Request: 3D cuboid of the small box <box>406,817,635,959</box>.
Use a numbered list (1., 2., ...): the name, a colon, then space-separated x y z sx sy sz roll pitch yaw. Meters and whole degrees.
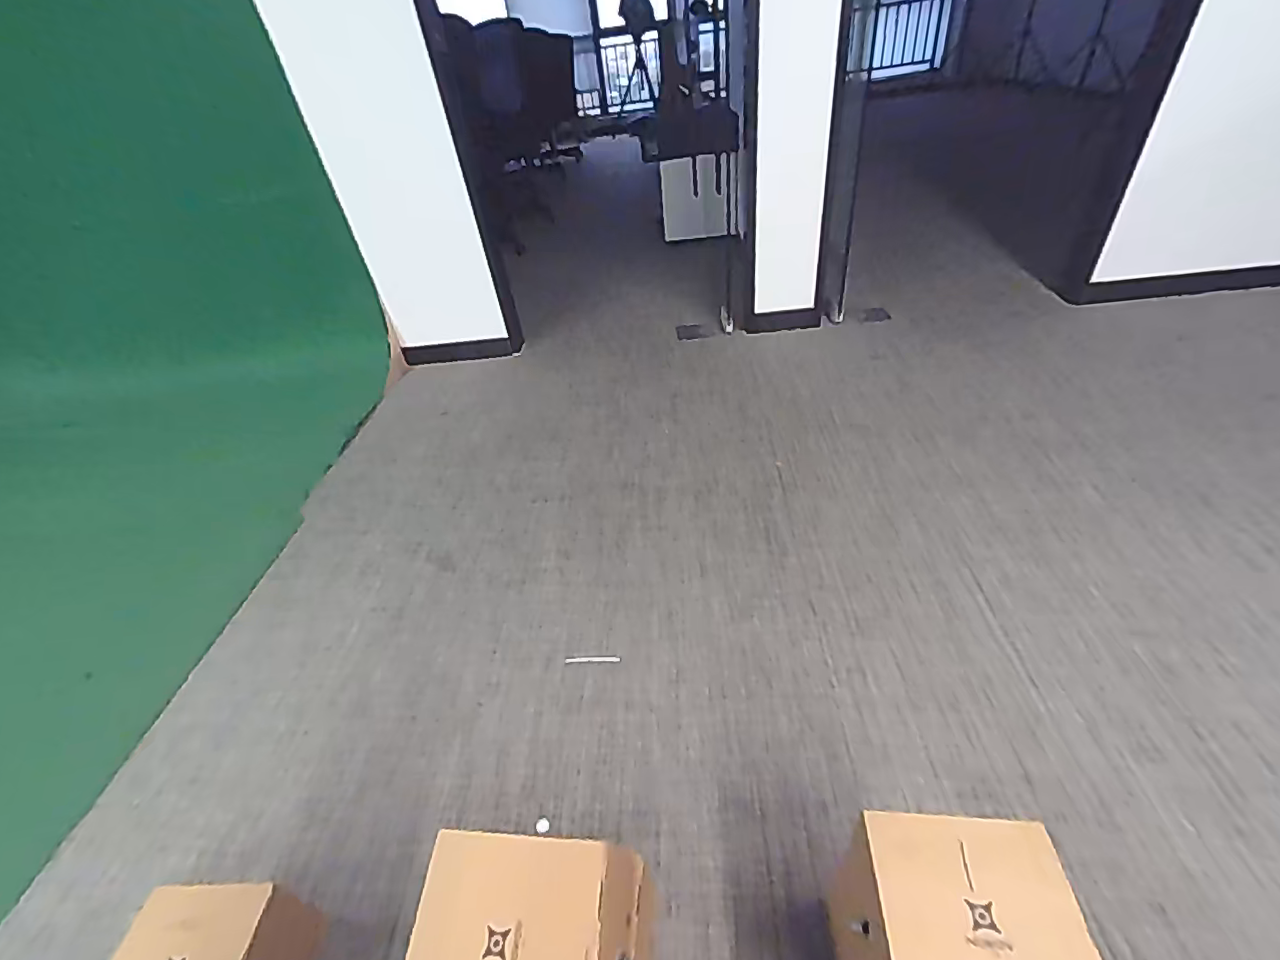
1. small box: -0.110 0.455 0.548 0.179 0.176 0.168 -2 52 9
